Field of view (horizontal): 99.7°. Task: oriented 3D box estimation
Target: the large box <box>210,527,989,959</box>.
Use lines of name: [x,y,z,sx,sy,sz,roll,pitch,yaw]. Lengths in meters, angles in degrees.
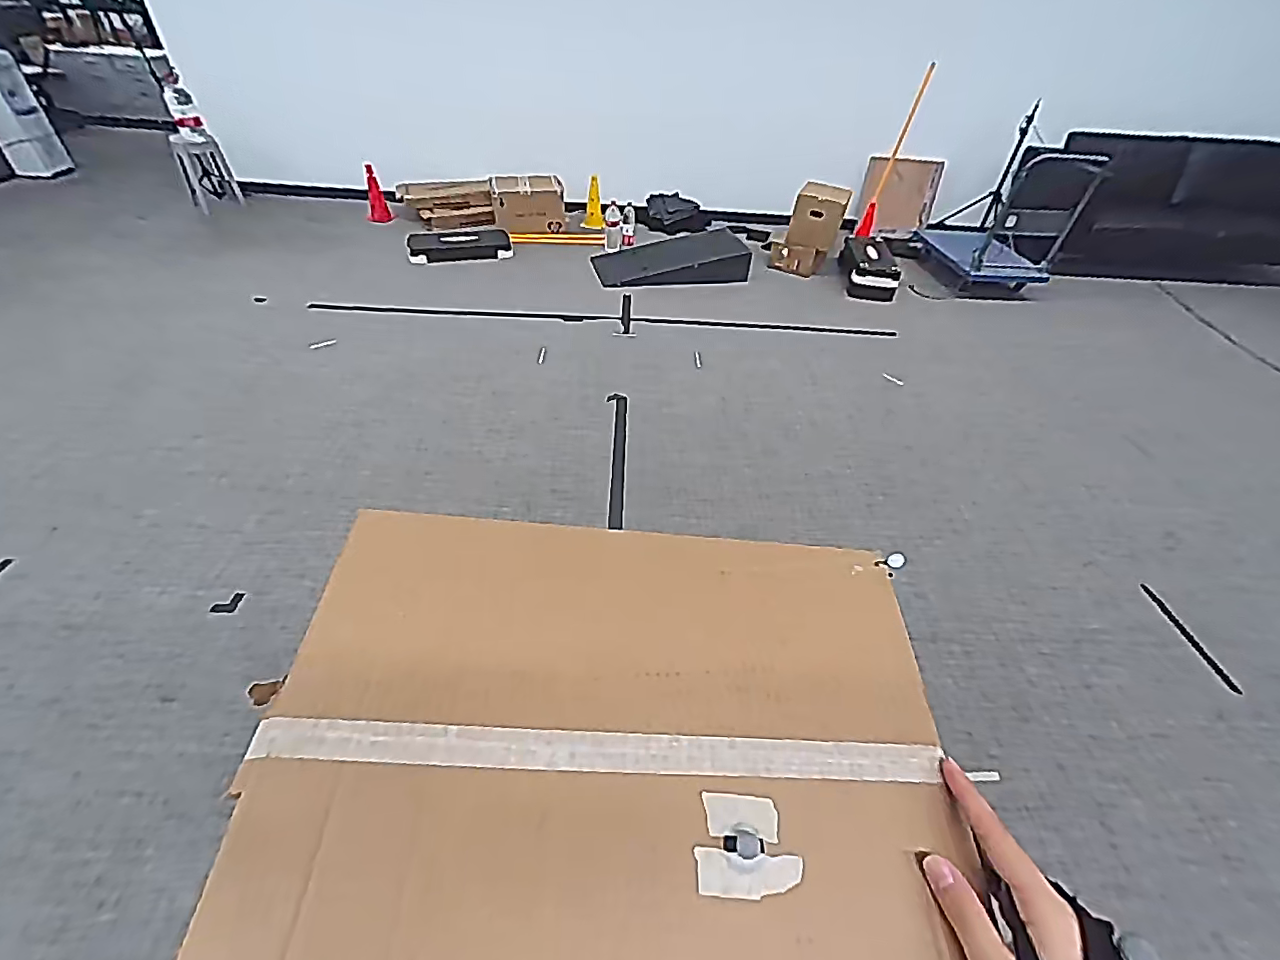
large box: [-0.027,0.262,0.446,0.408,0.320,0.320,6,52,-6]
